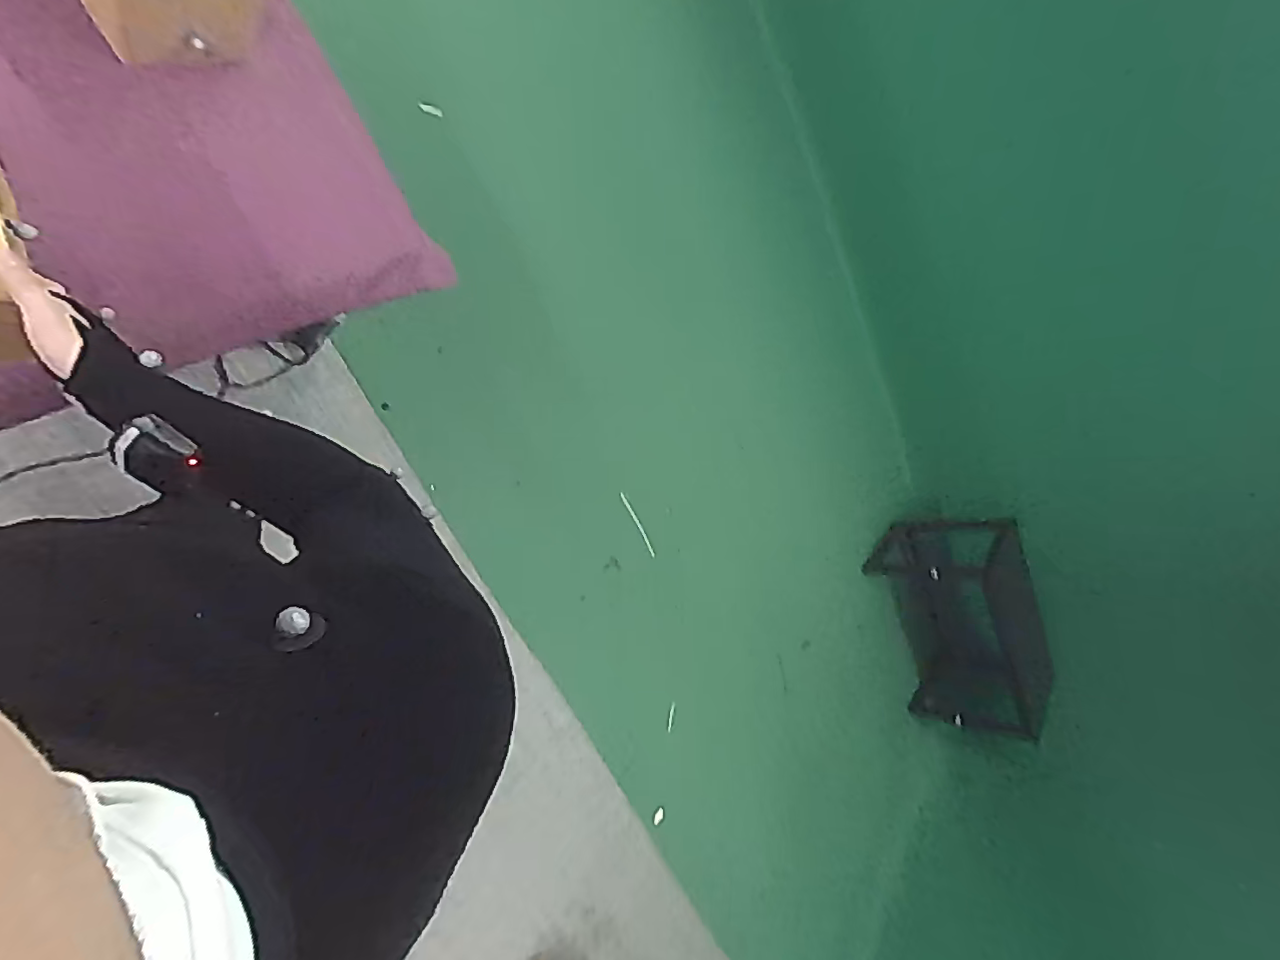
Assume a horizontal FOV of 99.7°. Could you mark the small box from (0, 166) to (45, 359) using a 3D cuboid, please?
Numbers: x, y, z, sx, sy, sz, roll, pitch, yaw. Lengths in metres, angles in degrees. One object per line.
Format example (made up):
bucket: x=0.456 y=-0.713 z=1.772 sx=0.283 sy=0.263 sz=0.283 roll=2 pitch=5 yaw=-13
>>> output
small box: x=-0.645 y=-0.210 z=0.454 sx=0.168 sy=0.176 sz=0.179 roll=-14 pitch=94 yaw=-43

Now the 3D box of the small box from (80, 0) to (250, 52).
small box: x=-0.623 y=-0.680 z=0.670 sx=0.168 sy=0.176 sz=0.179 roll=-40 pitch=113 yaw=-36
